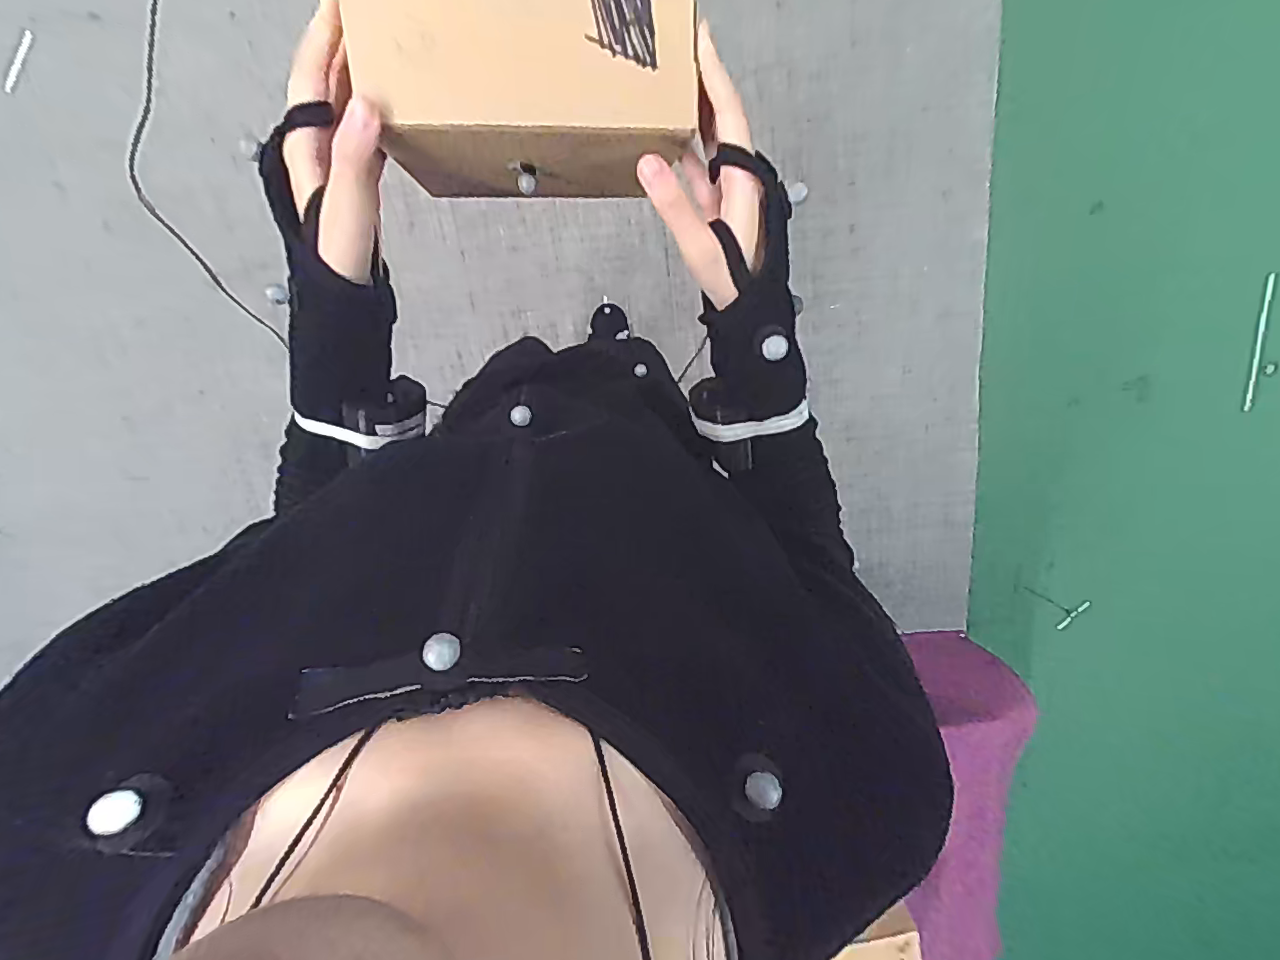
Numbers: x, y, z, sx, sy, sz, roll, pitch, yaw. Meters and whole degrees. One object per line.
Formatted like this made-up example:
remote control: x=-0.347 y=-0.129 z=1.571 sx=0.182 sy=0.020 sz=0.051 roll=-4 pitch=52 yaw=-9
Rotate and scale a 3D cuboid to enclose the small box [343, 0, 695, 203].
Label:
small box: x=-0.070 y=-0.283 z=0.340 sx=0.179 sy=0.176 sz=0.168 roll=-4 pitch=106 yaw=-7
